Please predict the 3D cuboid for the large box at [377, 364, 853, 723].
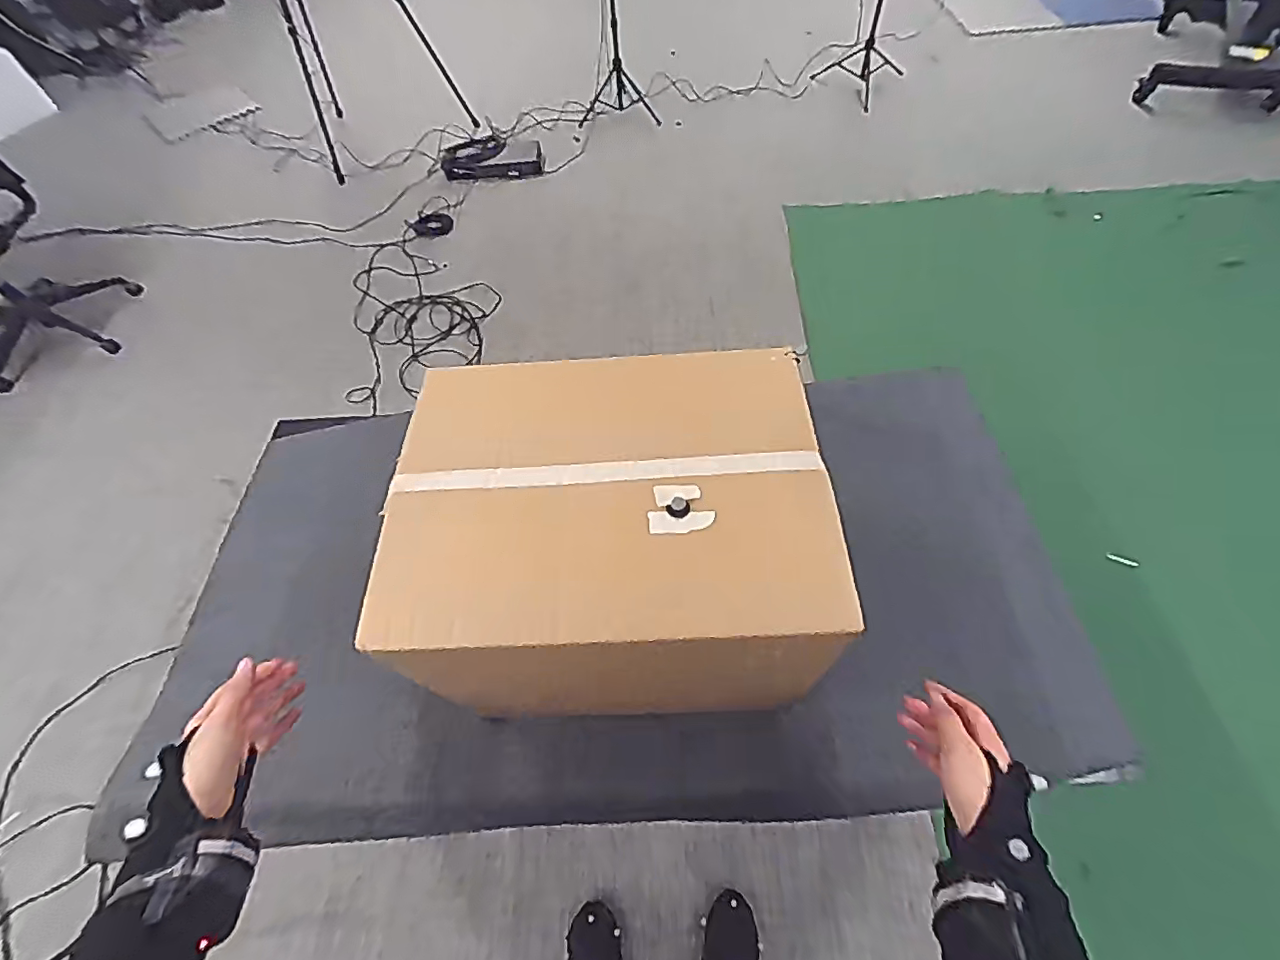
[{"bbox_3d":[-0.021,0.091,0.648,0.408,0.320,0.320,-3,57,2],"label":"large box"}]
